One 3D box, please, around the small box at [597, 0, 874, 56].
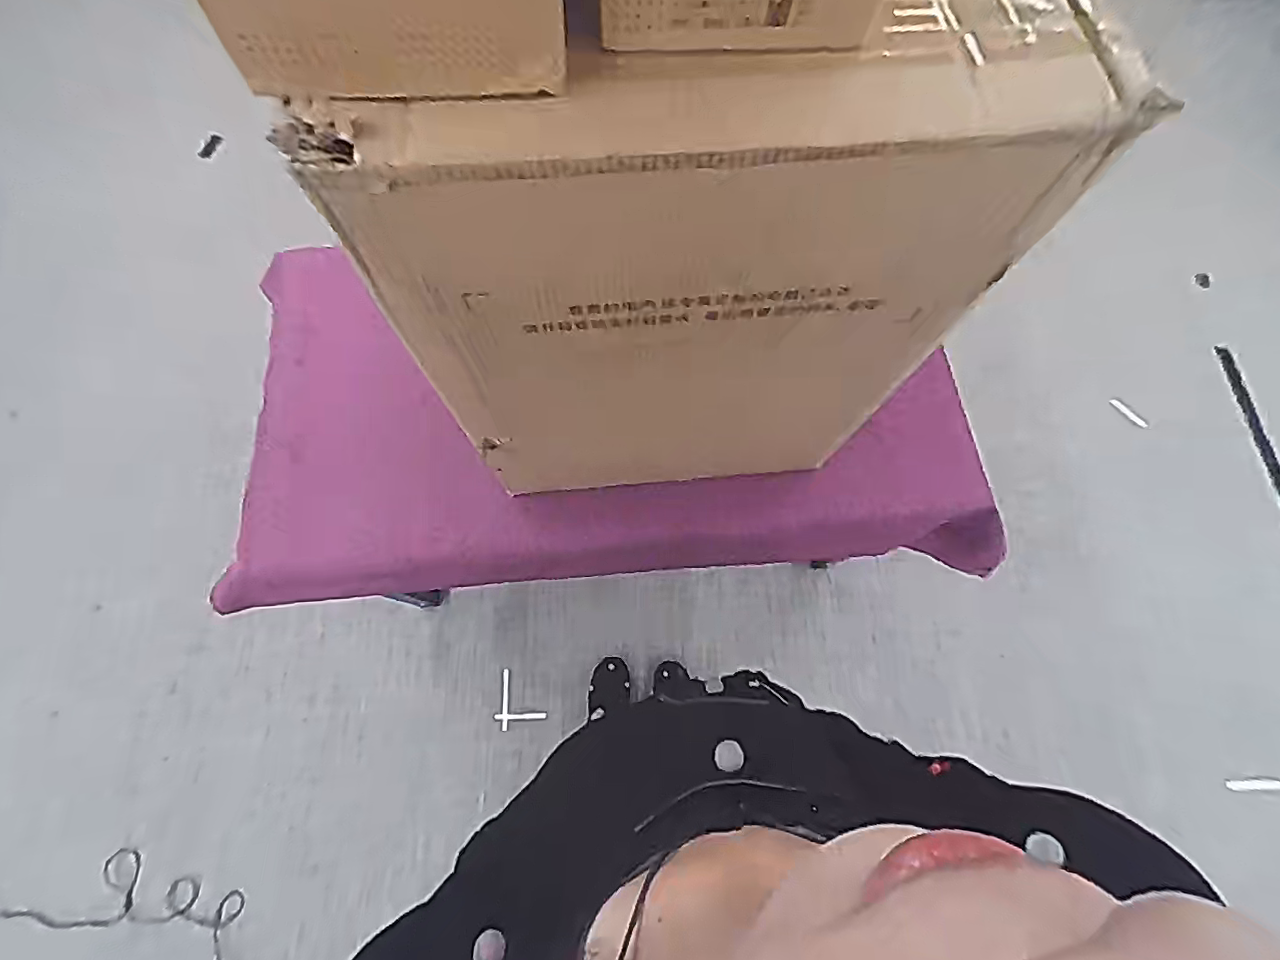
[{"bbox_3d":[0.054,-0.369,0.281,0.168,0.176,0.179,-3,73,-2],"label":"small box"}]
